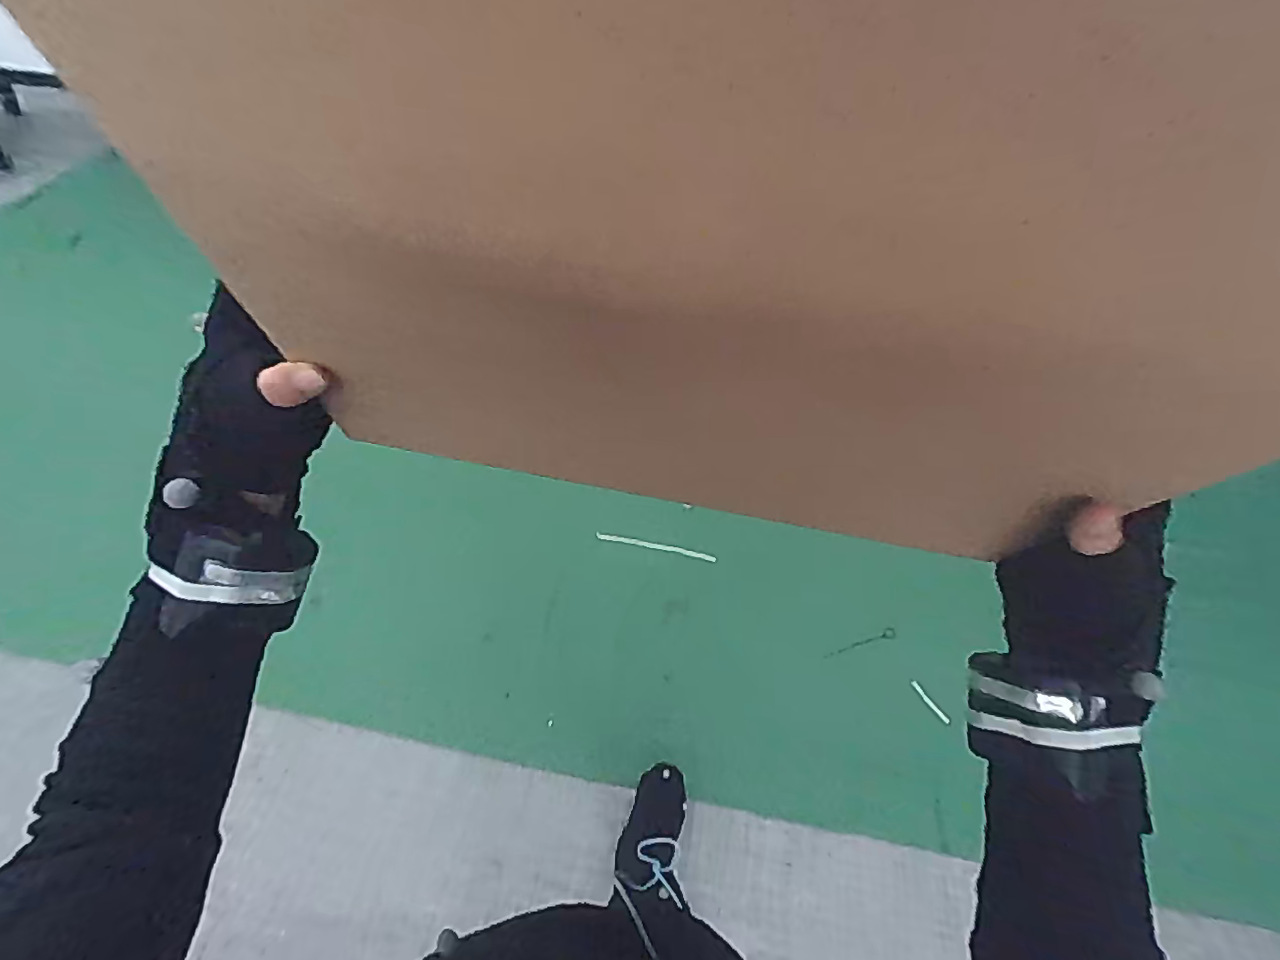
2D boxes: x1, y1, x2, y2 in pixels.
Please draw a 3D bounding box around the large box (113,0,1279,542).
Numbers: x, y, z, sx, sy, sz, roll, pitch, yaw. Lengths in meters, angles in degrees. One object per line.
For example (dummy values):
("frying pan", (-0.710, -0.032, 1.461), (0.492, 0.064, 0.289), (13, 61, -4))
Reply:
("large box", (0.076, -0.187, 0.261), (0.408, 0.320, 0.320), (11, 66, -4))
